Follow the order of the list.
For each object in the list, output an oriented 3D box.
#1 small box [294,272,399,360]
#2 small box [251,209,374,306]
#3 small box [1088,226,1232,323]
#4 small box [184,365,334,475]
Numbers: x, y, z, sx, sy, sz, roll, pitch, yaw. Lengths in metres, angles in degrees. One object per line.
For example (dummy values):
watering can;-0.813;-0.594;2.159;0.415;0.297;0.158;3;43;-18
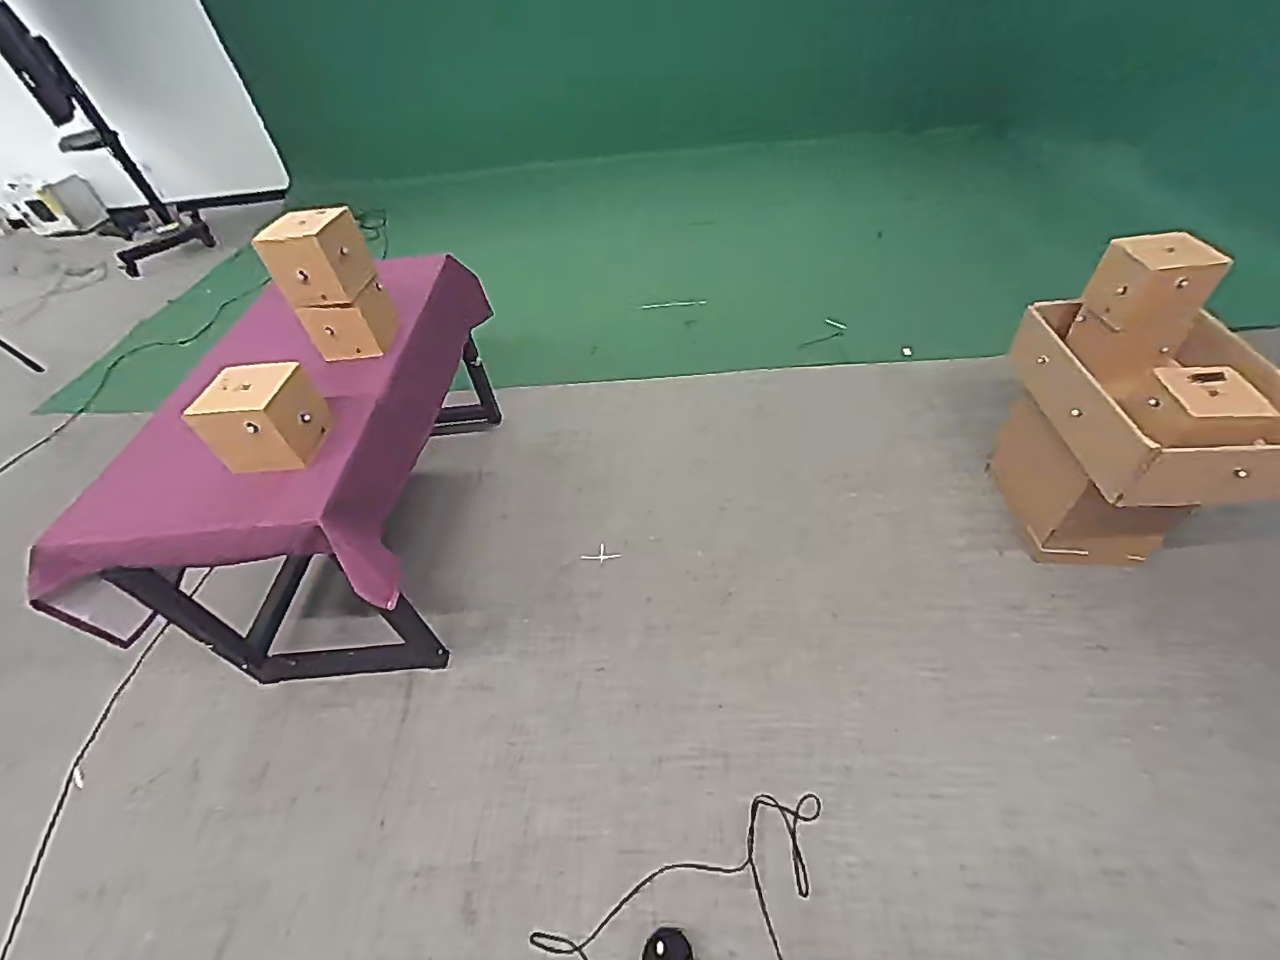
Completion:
small box;-0.783;-0.438;1.466;0.168;0.176;0.179;-5;46;4
small box;-0.798;-0.546;1.342;0.168;0.176;0.179;-1;47;7
small box;1.270;-0.505;1.344;0.179;0.176;0.168;-5;47;3
small box;-0.808;-0.127;1.173;0.179;0.176;0.168;-4;46;5
